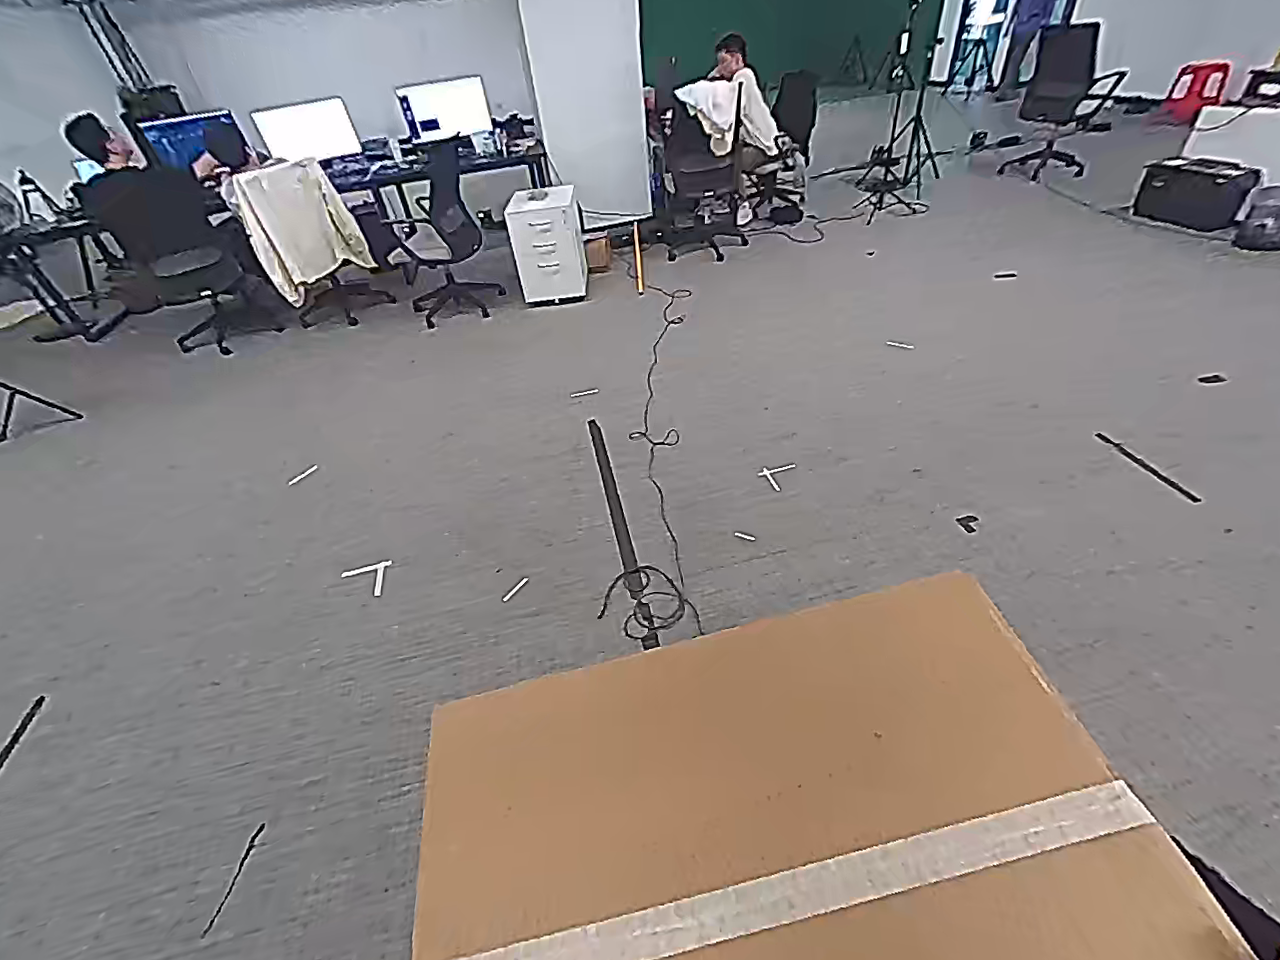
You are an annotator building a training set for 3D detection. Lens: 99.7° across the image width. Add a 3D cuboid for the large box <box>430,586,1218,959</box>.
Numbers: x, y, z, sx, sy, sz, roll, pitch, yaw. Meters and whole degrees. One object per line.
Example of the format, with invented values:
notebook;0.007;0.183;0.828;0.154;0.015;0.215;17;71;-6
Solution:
large box;0.100;0.335;0.409;0.408;0.320;0.320;-15;45;-1
